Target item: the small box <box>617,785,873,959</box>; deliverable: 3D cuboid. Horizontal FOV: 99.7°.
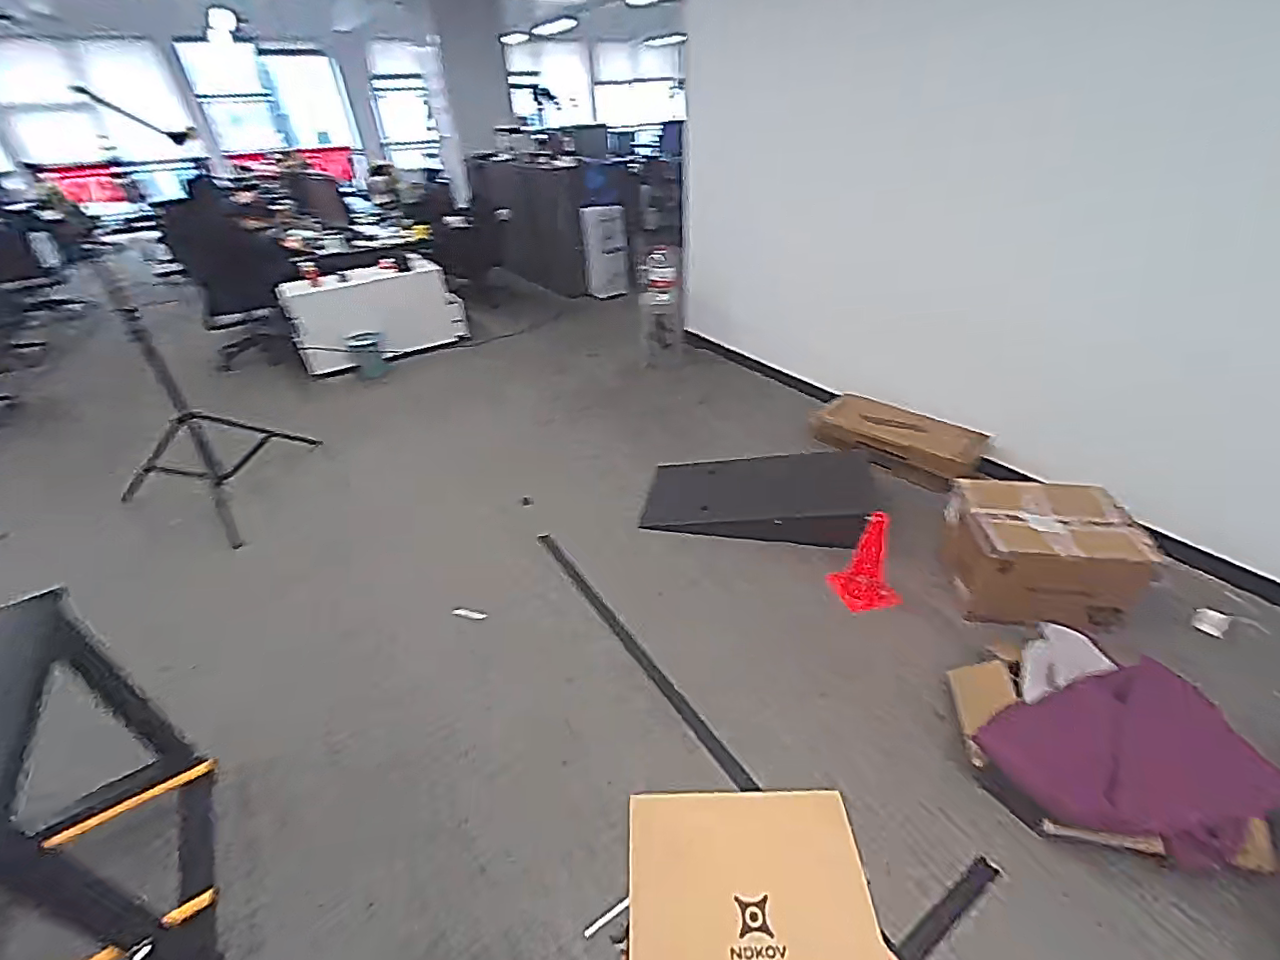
[{"bbox_3d":[0.067,0.358,0.405,0.168,0.176,0.179,-2,37,0],"label":"small box"}]
